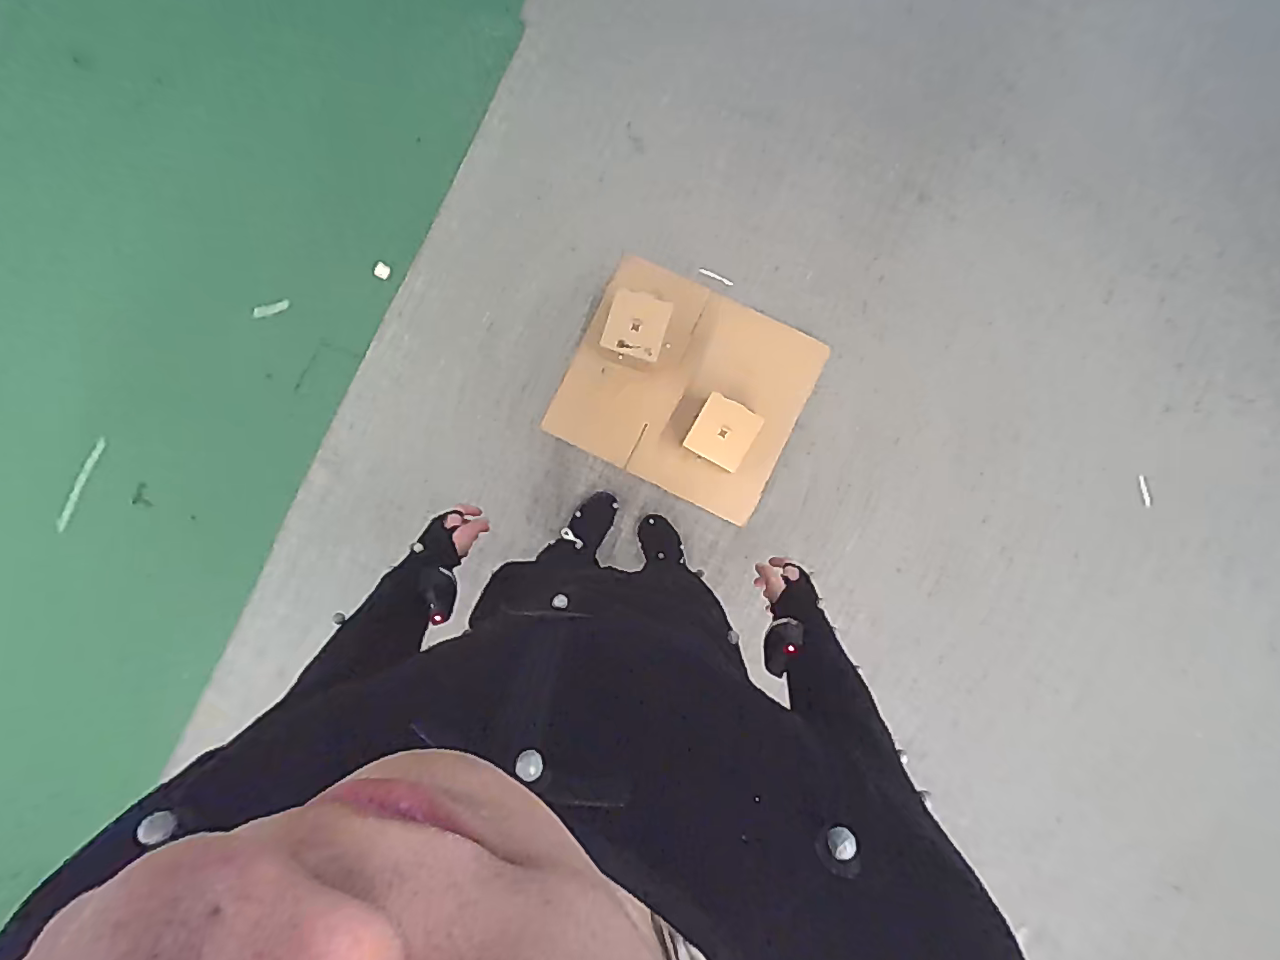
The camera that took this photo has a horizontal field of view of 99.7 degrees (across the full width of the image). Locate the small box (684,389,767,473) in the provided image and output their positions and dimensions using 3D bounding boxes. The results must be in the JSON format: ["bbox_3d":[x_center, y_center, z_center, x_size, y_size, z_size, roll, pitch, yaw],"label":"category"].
[{"bbox_3d":[0.235,-0.130,1.534,0.168,0.176,0.179,30,89,3],"label":"small box"}]

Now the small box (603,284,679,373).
[{"bbox_3d":[0.003,-0.428,1.550,0.168,0.176,0.179,19,89,2],"label":"small box"}]
